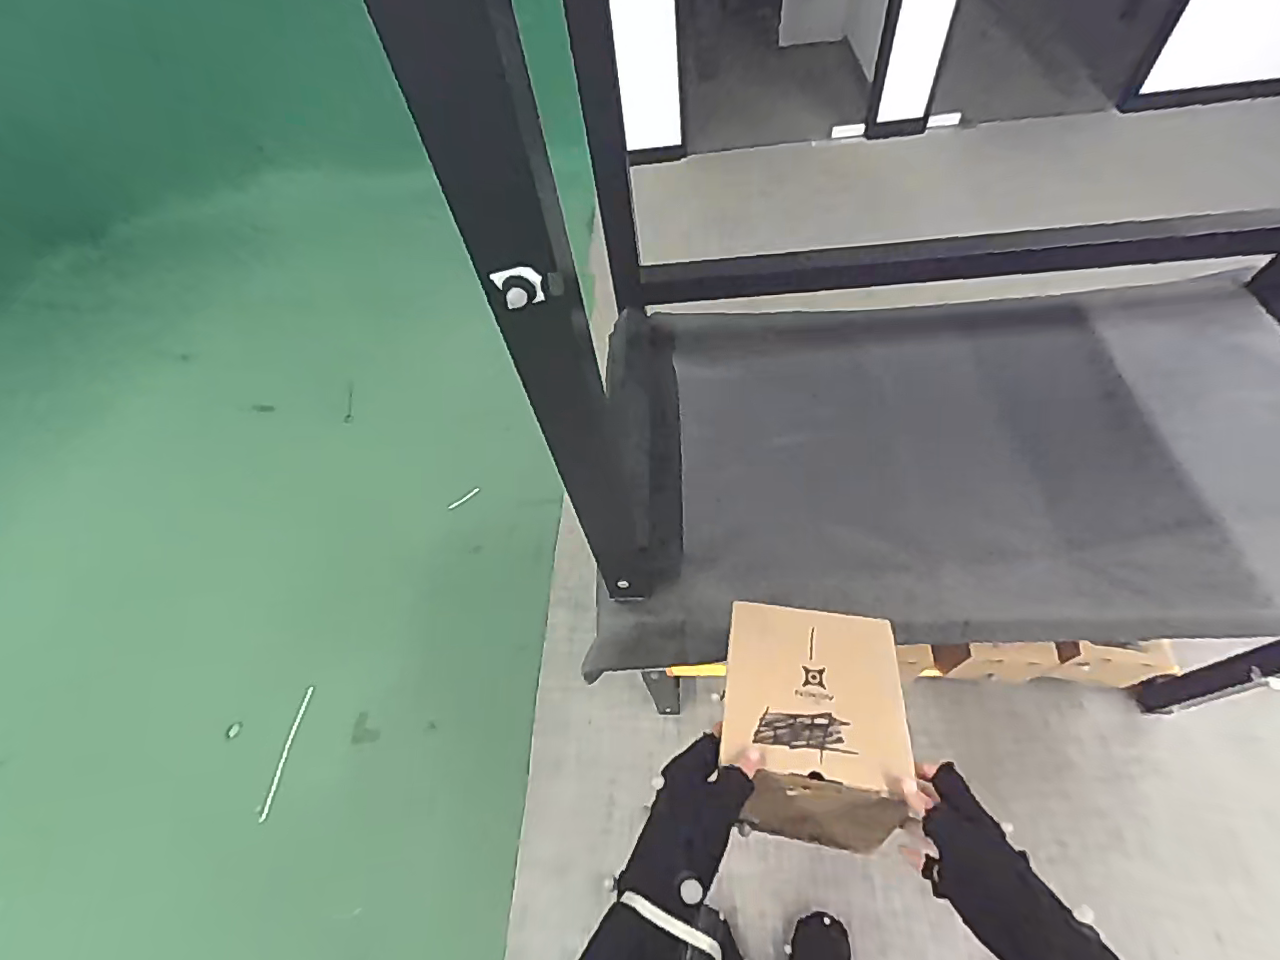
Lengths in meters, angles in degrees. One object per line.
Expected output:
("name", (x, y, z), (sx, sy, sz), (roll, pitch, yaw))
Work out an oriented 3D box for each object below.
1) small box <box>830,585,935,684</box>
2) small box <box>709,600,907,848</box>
("small box", (0.537, 0.351, 1.224), (0.168, 0.176, 0.179), (-1, 58, 8))
("small box", (0.165, 0.256, 0.571), (0.168, 0.176, 0.179), (5, 42, 11))
